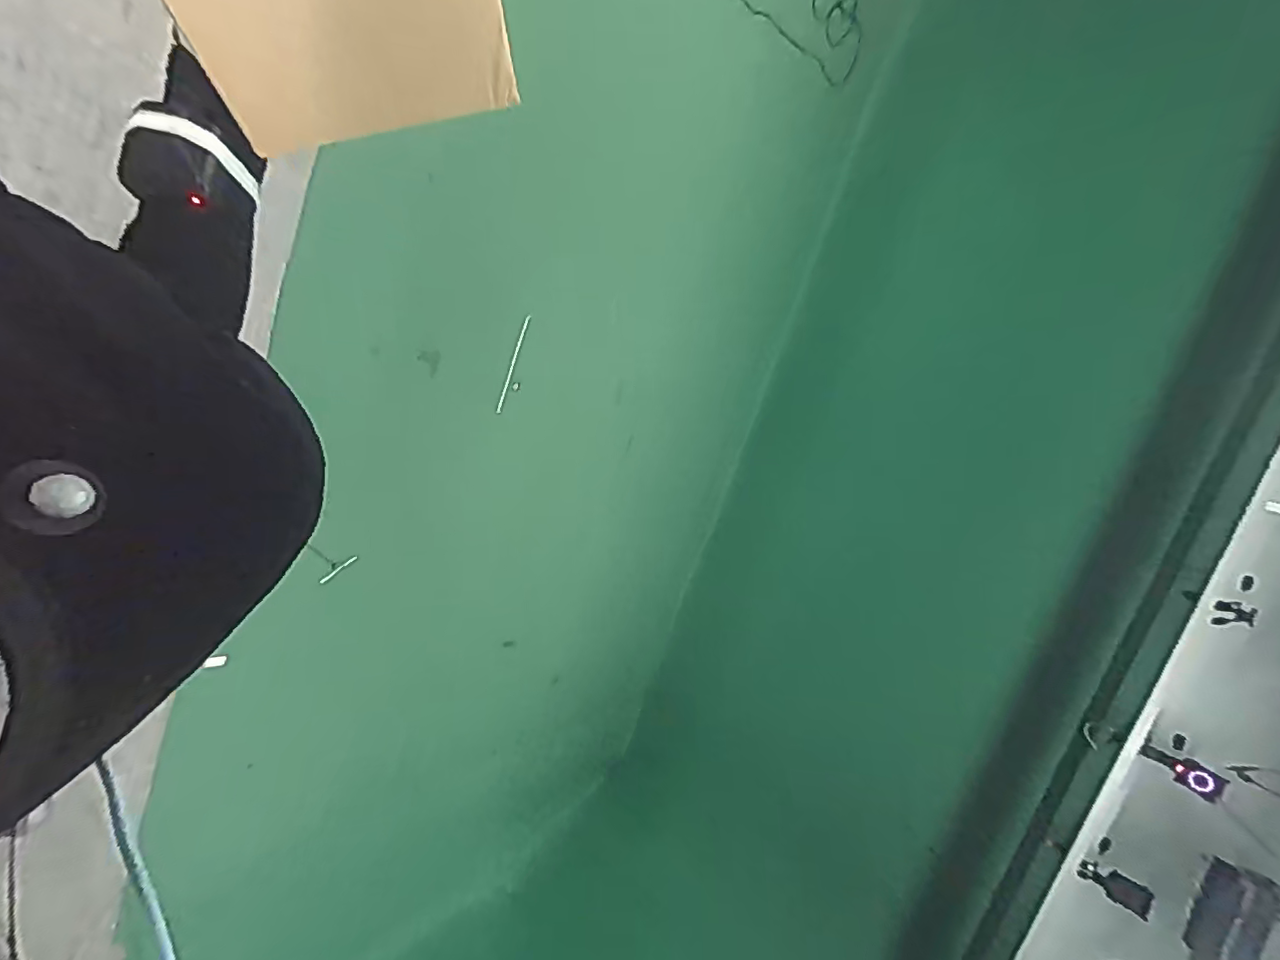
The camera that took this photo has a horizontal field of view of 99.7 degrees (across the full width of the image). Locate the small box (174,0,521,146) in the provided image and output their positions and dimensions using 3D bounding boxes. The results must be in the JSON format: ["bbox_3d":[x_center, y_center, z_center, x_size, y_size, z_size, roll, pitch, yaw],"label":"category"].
[{"bbox_3d":[-0.183,-0.335,0.304,0.168,0.179,0.176,-19,152,-8],"label":"small box"}]
